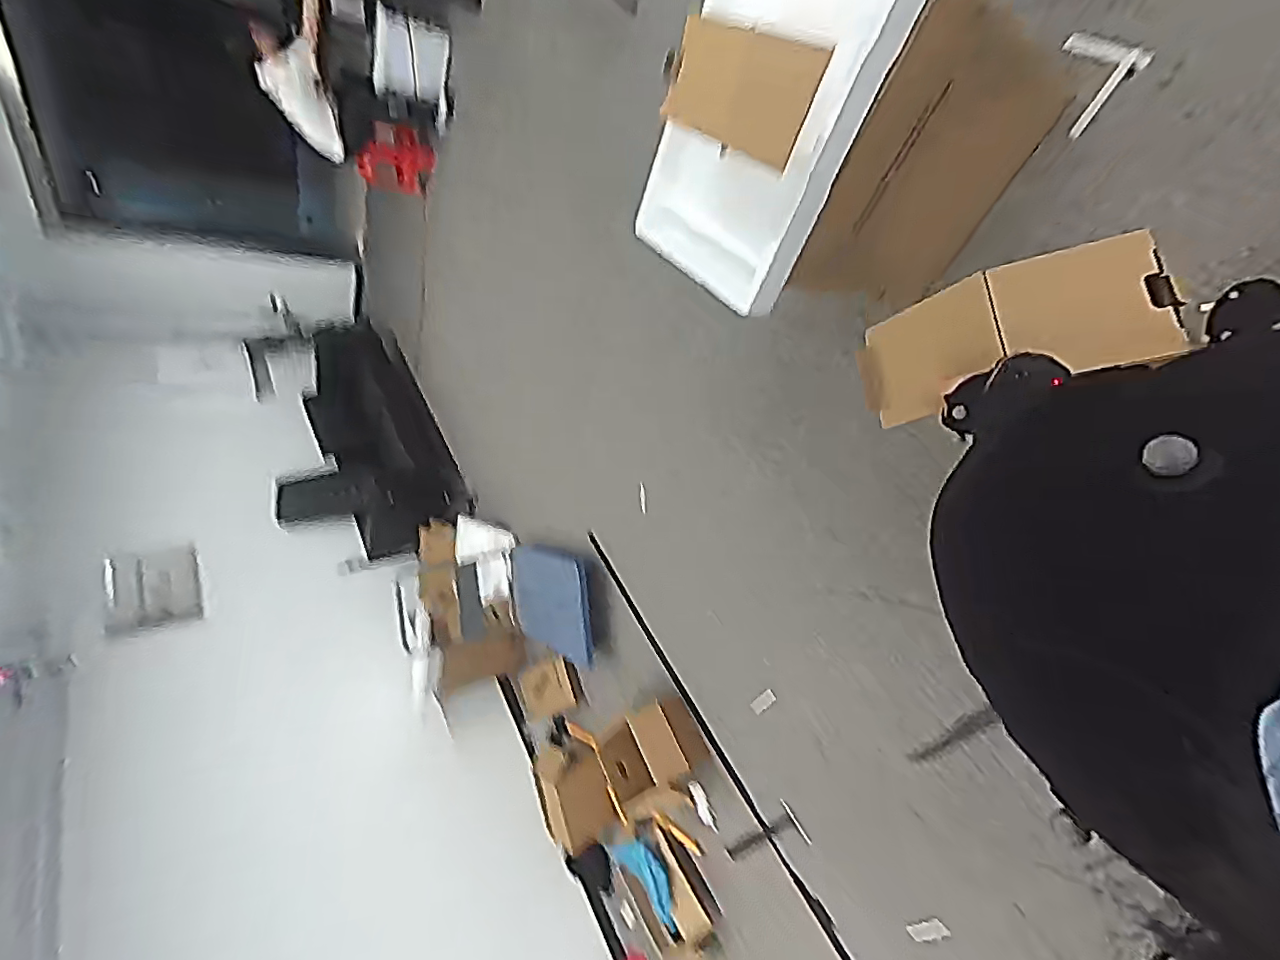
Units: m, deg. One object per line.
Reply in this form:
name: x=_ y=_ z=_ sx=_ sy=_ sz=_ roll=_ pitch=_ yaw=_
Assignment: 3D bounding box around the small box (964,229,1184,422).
small box: x=0.550 y=-0.189 z=0.720 sx=0.179 sy=0.176 sz=0.168 roll=-10 pitch=75 yaw=20
